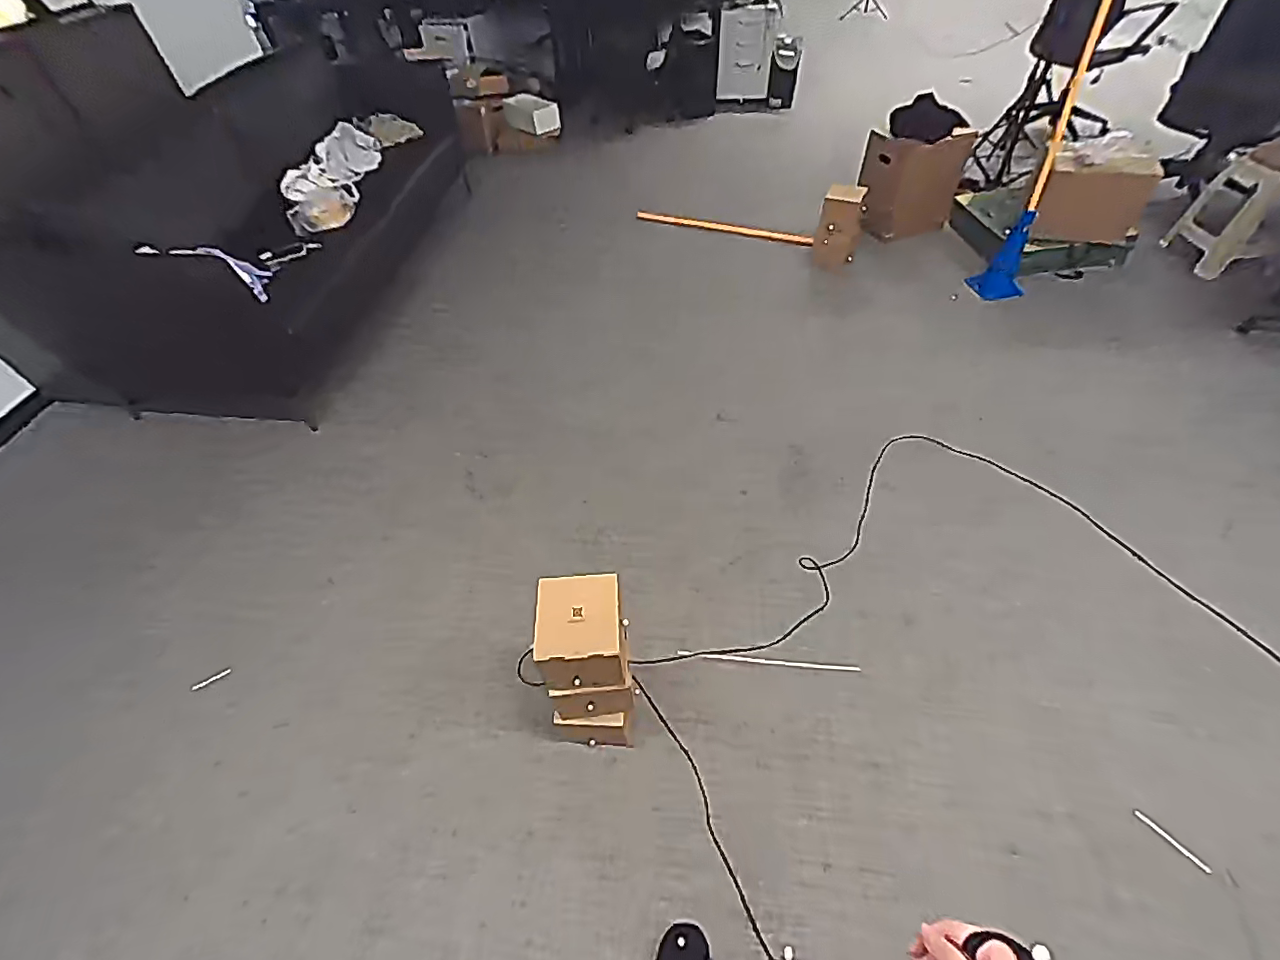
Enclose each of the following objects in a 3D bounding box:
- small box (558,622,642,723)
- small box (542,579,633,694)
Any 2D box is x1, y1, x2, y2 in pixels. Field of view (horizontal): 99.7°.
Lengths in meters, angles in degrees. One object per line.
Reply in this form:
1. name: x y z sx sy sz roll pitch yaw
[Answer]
1. small box: -0.090 0.447 1.255 0.179 0.176 0.168 -9 50 0
2. small box: -0.105 0.332 1.141 0.168 0.176 0.179 -6 51 2
